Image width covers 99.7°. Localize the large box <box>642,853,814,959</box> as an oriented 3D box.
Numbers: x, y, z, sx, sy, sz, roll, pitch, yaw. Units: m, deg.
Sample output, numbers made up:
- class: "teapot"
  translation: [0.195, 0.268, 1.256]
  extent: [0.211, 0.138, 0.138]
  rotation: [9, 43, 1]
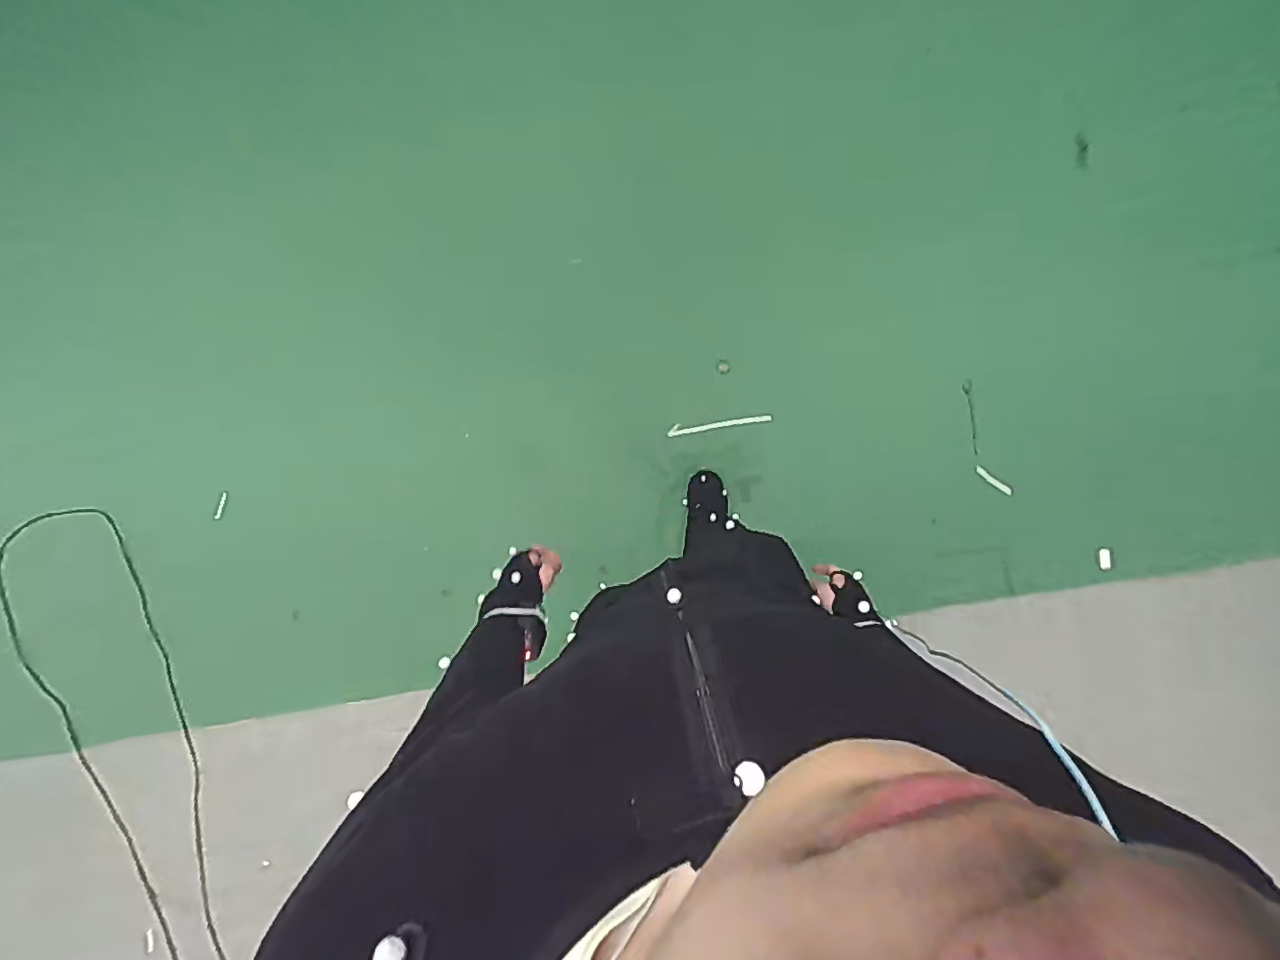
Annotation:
- class: "large box"
  translation: [0.235, 1.254, 1.415]
  extent: [0.408, 0.320, 0.320]
  rotation: [-12, 86, 2]
